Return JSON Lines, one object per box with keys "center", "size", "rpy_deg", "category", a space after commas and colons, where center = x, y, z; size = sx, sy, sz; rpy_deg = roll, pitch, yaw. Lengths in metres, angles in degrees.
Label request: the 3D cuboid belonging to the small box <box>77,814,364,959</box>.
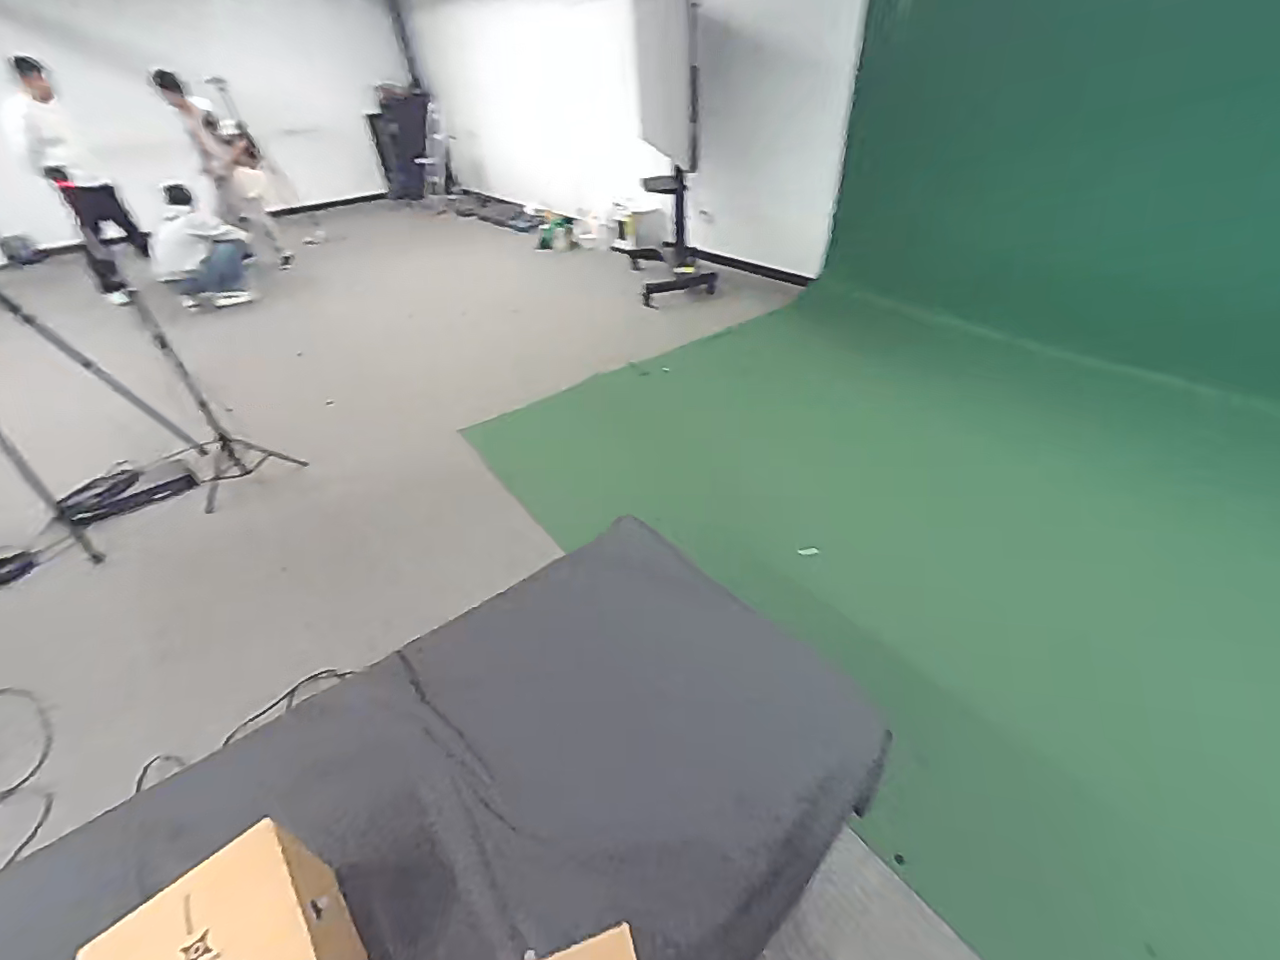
{"center": [-0.398, 0.491, 0.537], "size": [0.168, 0.176, 0.179], "rpy_deg": [-31, 45, -31], "category": "small box"}
